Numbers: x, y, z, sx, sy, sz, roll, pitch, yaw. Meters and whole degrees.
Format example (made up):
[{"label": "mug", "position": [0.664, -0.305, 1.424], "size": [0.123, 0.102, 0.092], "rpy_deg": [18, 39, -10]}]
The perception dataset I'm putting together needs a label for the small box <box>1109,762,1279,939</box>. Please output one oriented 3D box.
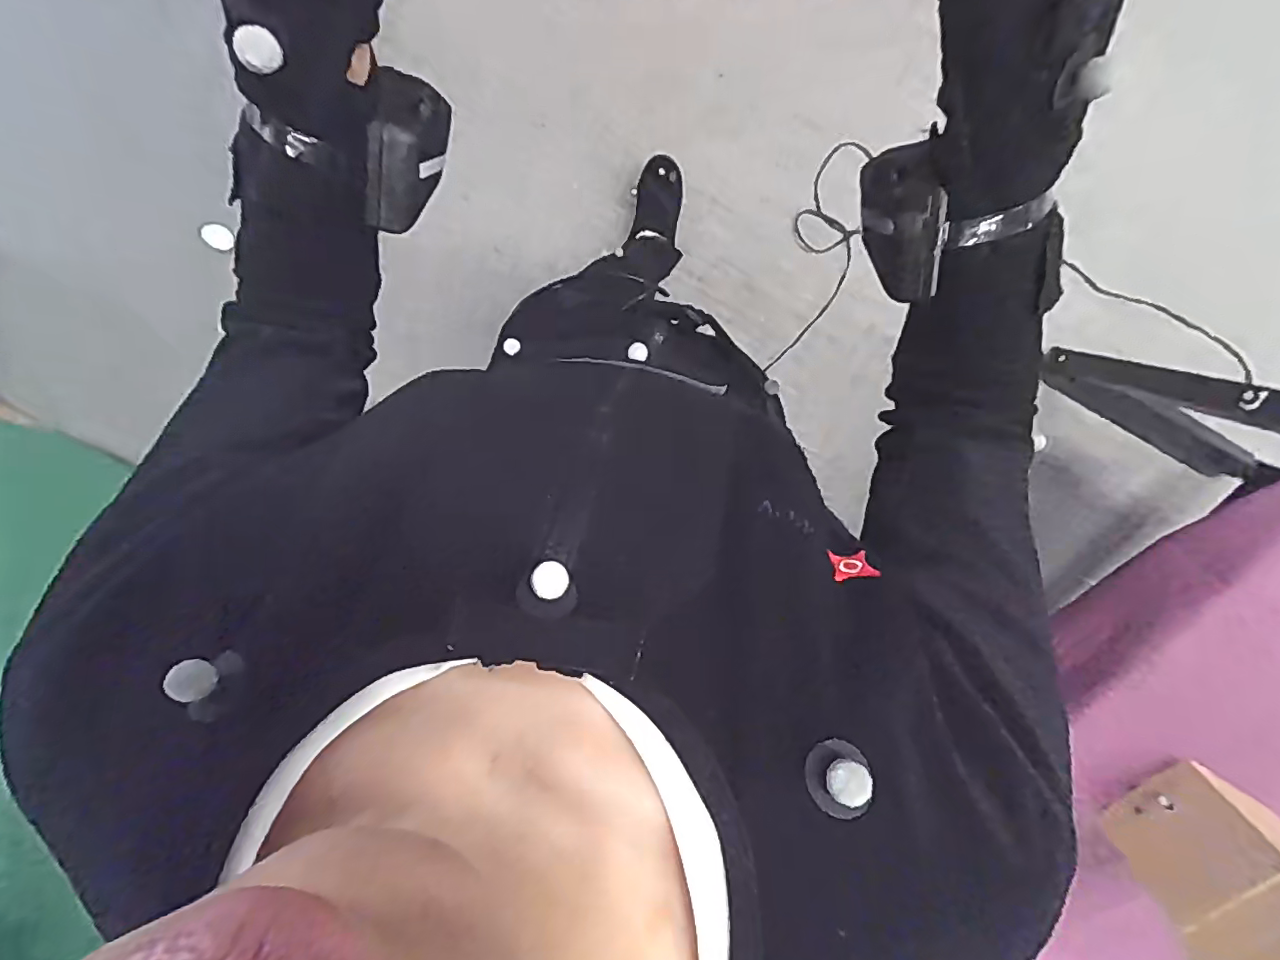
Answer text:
[{"label": "small box", "position": [0.830, 0.535, 0.750], "size": [0.179, 0.176, 0.168], "rpy_deg": [32, 110, -5]}]
